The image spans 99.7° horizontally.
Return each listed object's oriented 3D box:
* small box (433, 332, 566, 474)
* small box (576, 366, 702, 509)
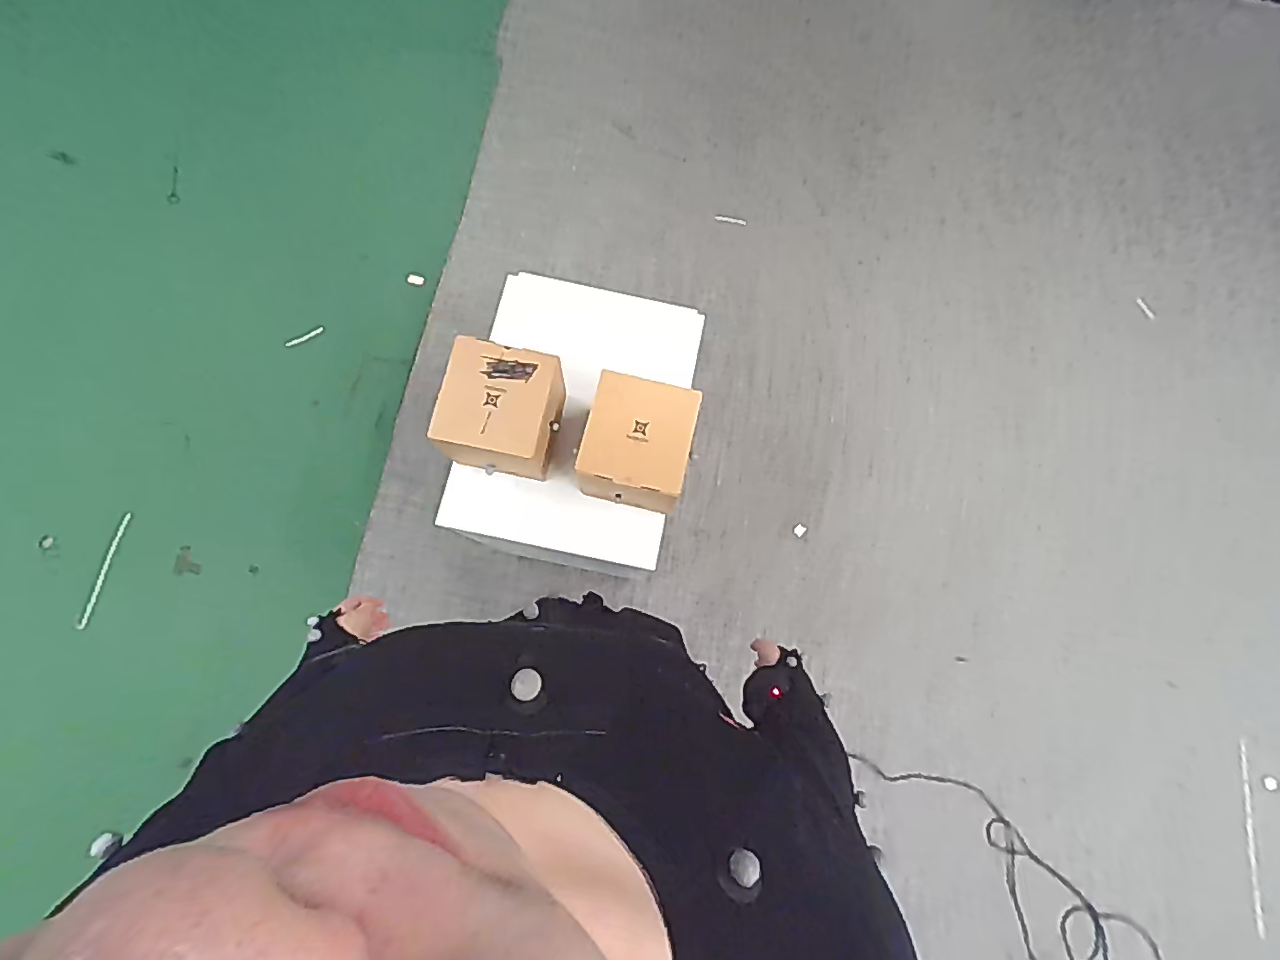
[{"bbox_3d":[-0.224,-0.121,0.914,0.168,0.176,0.179,11,79,-1],"label":"small box"},{"bbox_3d":[-0.003,-0.063,0.911,0.168,0.176,0.179,14,78,1],"label":"small box"}]
